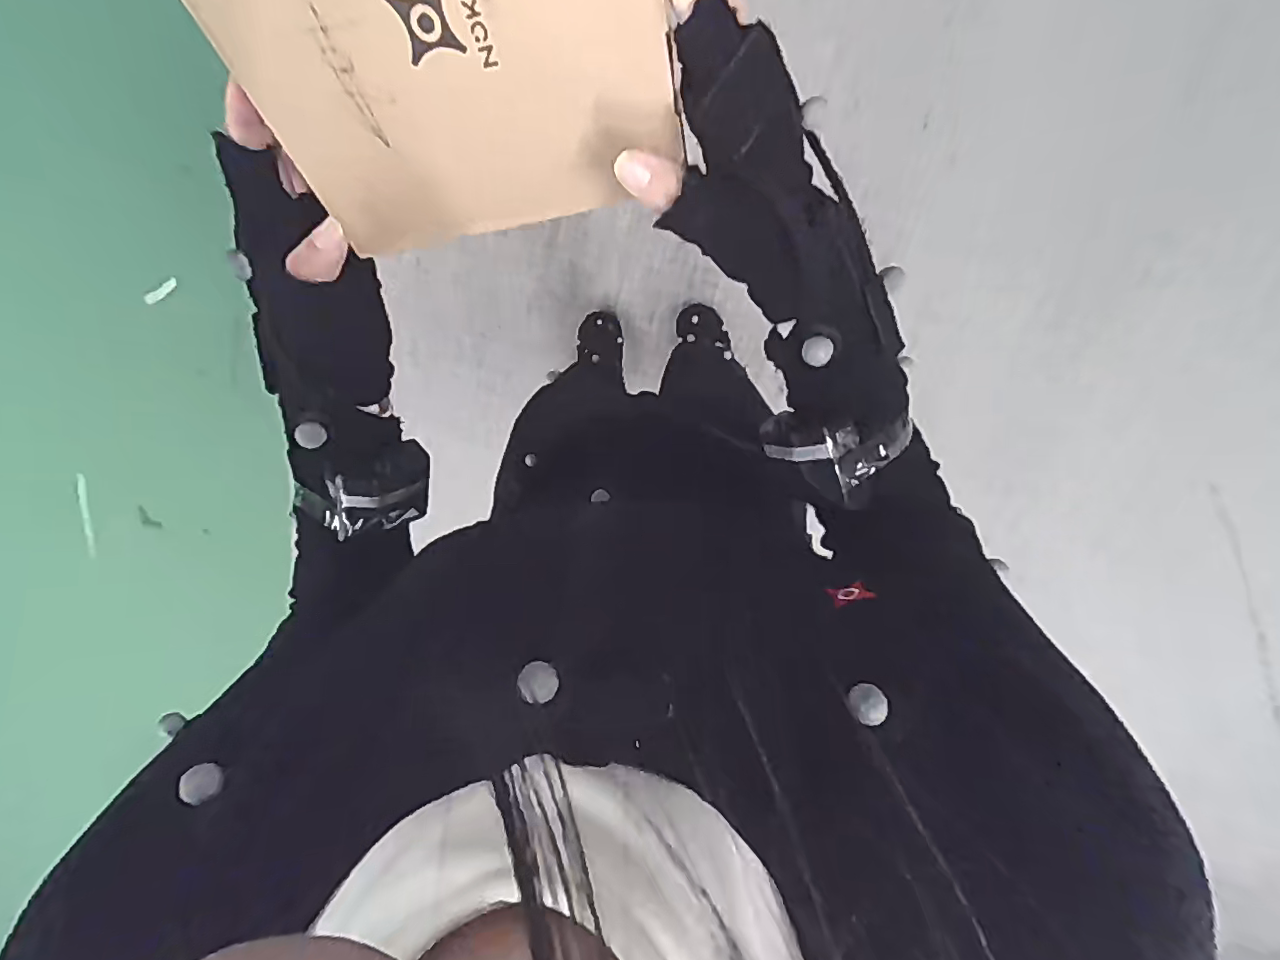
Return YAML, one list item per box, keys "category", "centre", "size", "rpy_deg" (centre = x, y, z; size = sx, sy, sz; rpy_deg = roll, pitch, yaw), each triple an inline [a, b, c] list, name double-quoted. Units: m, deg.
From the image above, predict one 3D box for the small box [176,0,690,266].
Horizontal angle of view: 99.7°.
- category: "small box"
  centre: [-0.081, -0.237, 0.255]
  size: [0.179, 0.176, 0.168]
  rpy_deg: [-9, 143, 11]
